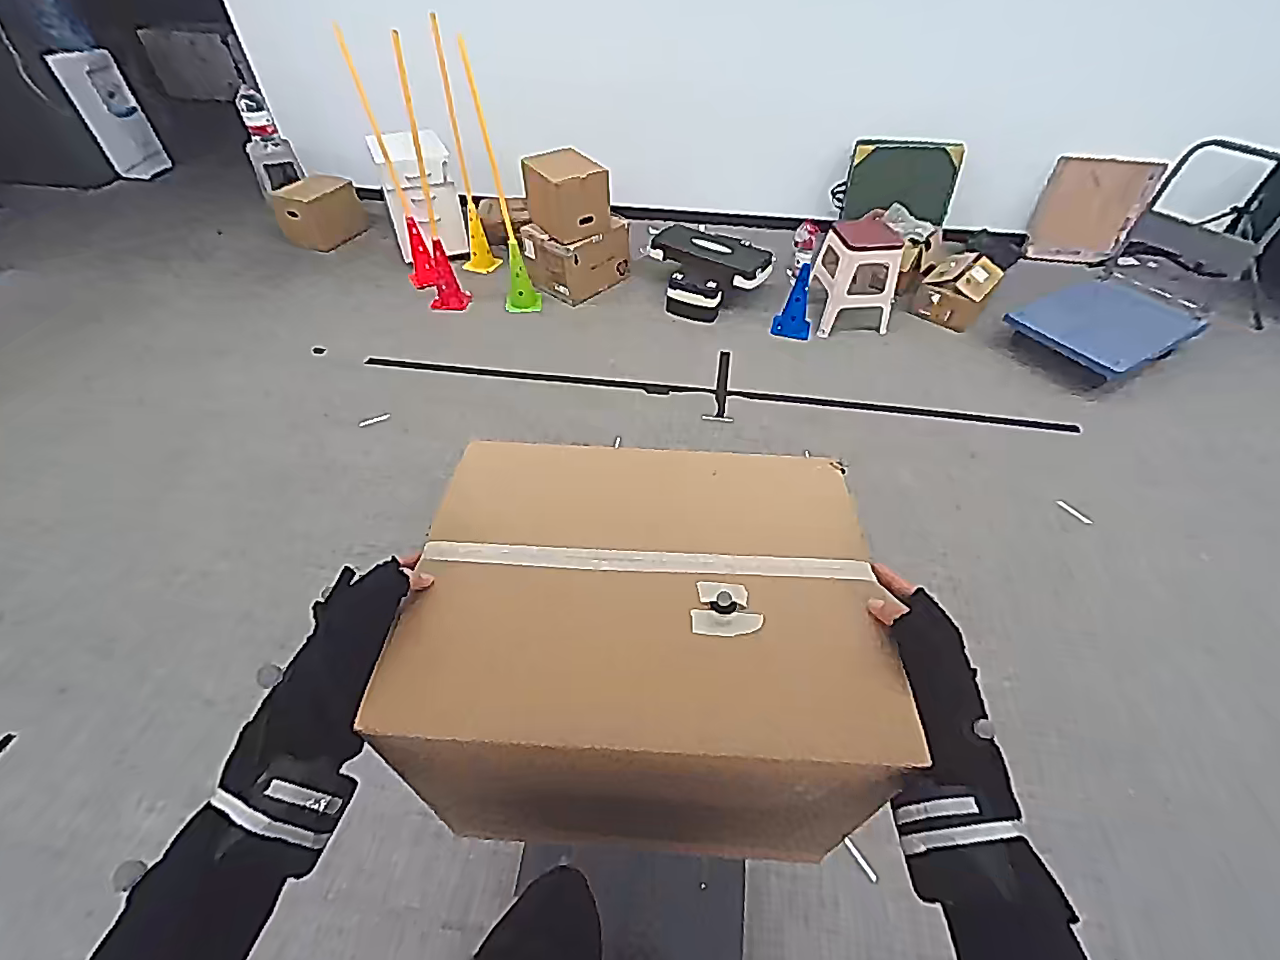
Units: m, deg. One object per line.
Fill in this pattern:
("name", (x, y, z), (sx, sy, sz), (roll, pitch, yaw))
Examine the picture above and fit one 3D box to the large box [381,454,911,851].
("large box", (0.004, 0.191, 0.606), (0.408, 0.320, 0.320), (3, 45, 1))
